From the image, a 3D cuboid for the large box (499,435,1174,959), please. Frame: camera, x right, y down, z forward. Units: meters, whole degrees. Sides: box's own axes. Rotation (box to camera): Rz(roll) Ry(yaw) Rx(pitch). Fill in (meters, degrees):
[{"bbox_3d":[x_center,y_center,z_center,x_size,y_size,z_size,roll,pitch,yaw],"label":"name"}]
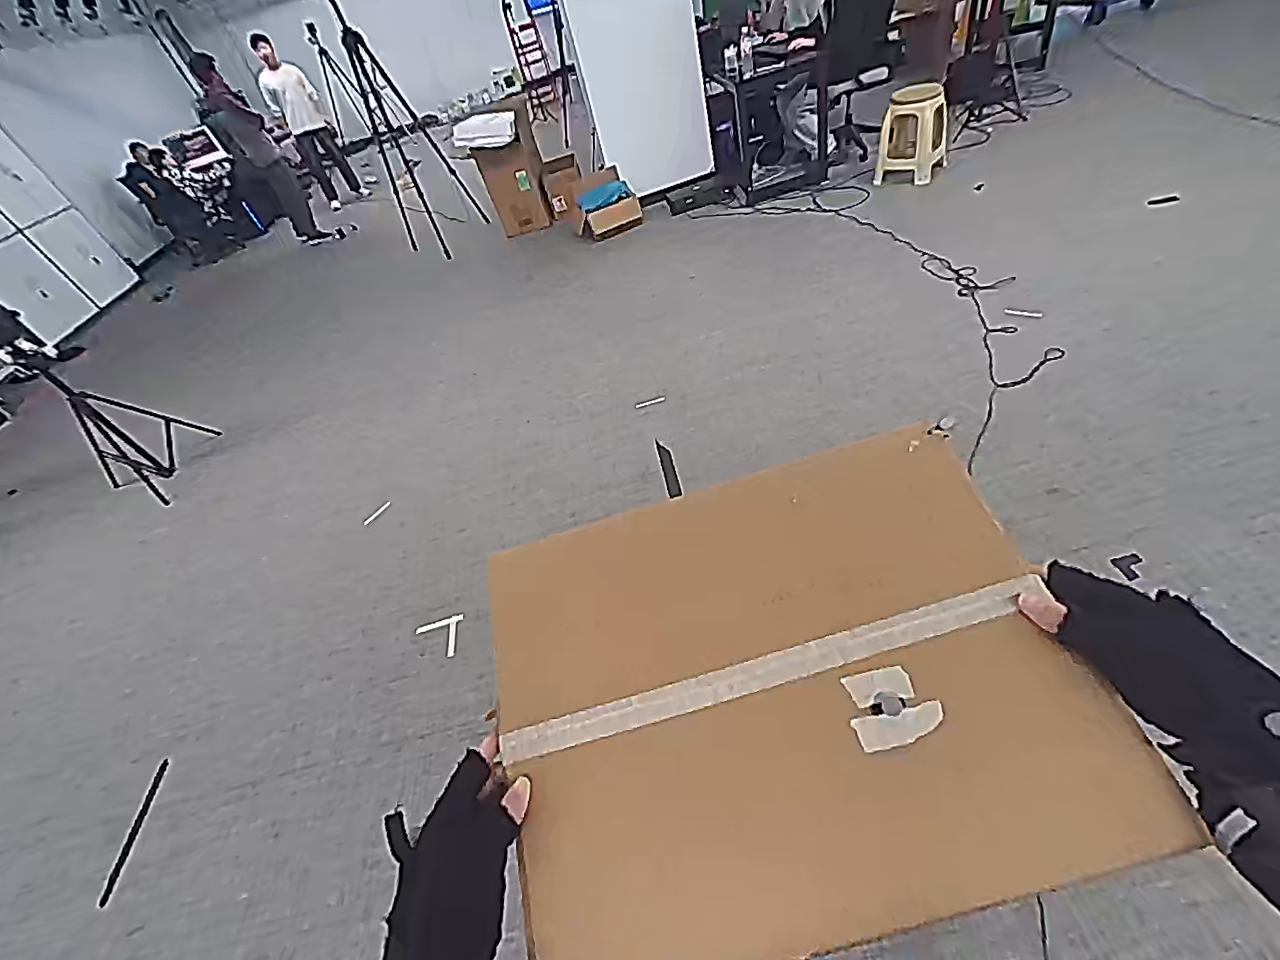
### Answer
[{"bbox_3d":[0.124,0.218,0.532,0.408,0.320,0.320,-18,60,1],"label":"large box"}]
